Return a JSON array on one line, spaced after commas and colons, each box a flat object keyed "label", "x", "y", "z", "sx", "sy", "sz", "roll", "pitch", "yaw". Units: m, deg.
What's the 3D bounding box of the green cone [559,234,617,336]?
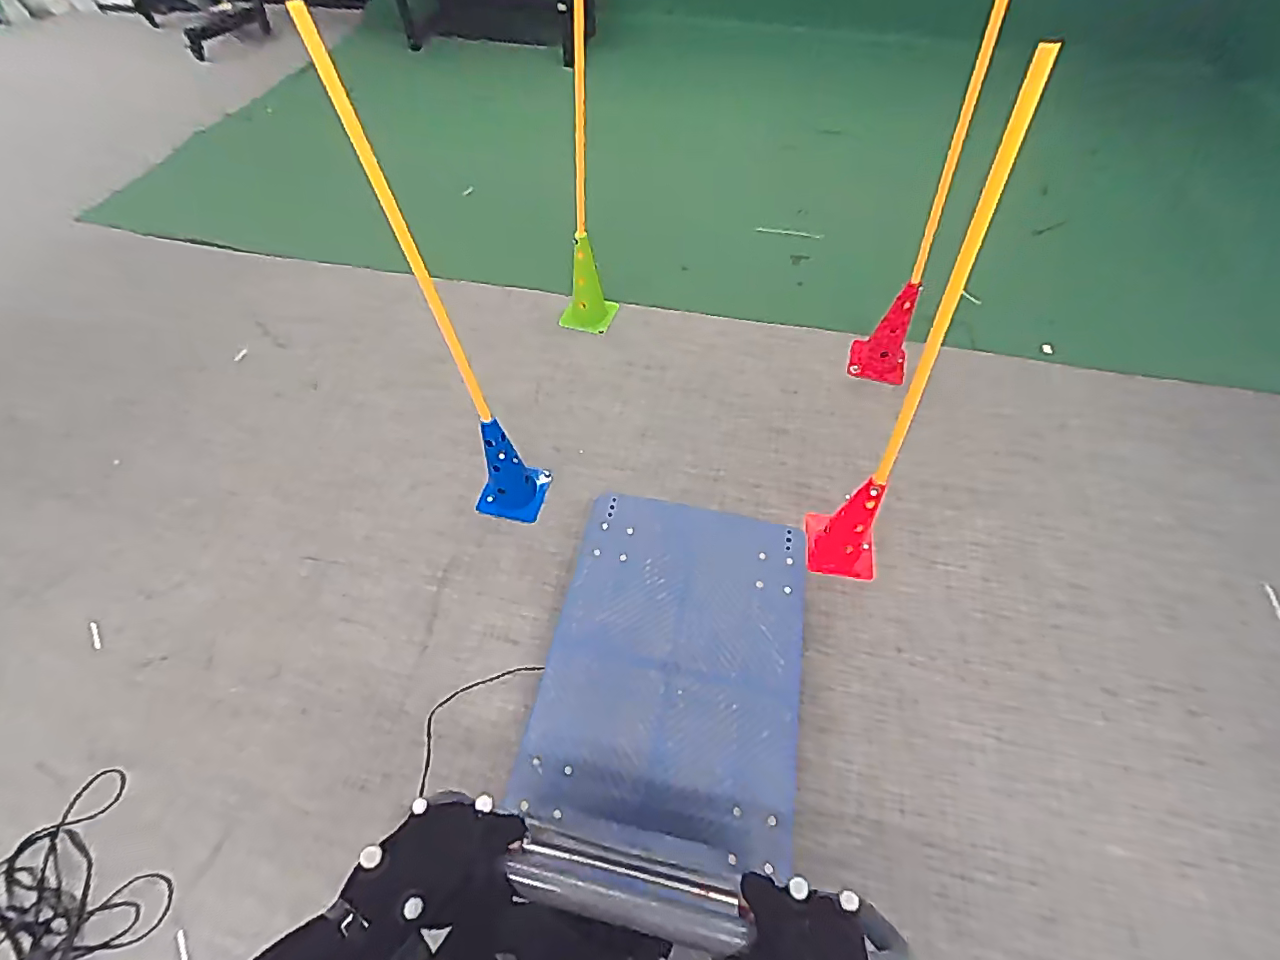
[{"label": "green cone", "x": -0.213, "y": -0.765, "z": 2.073, "sx": 0.202, "sy": 0.368, "sz": 0.200, "roll": 14, "pitch": 56, "yaw": 11}]

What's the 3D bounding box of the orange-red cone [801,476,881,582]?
[{"label": "orange-red cone", "x": 0.580, "y": 0.108, "z": 1.479, "sx": 0.199, "sy": 0.360, "sz": 0.198, "roll": 9, "pitch": 56, "yaw": 9}]
